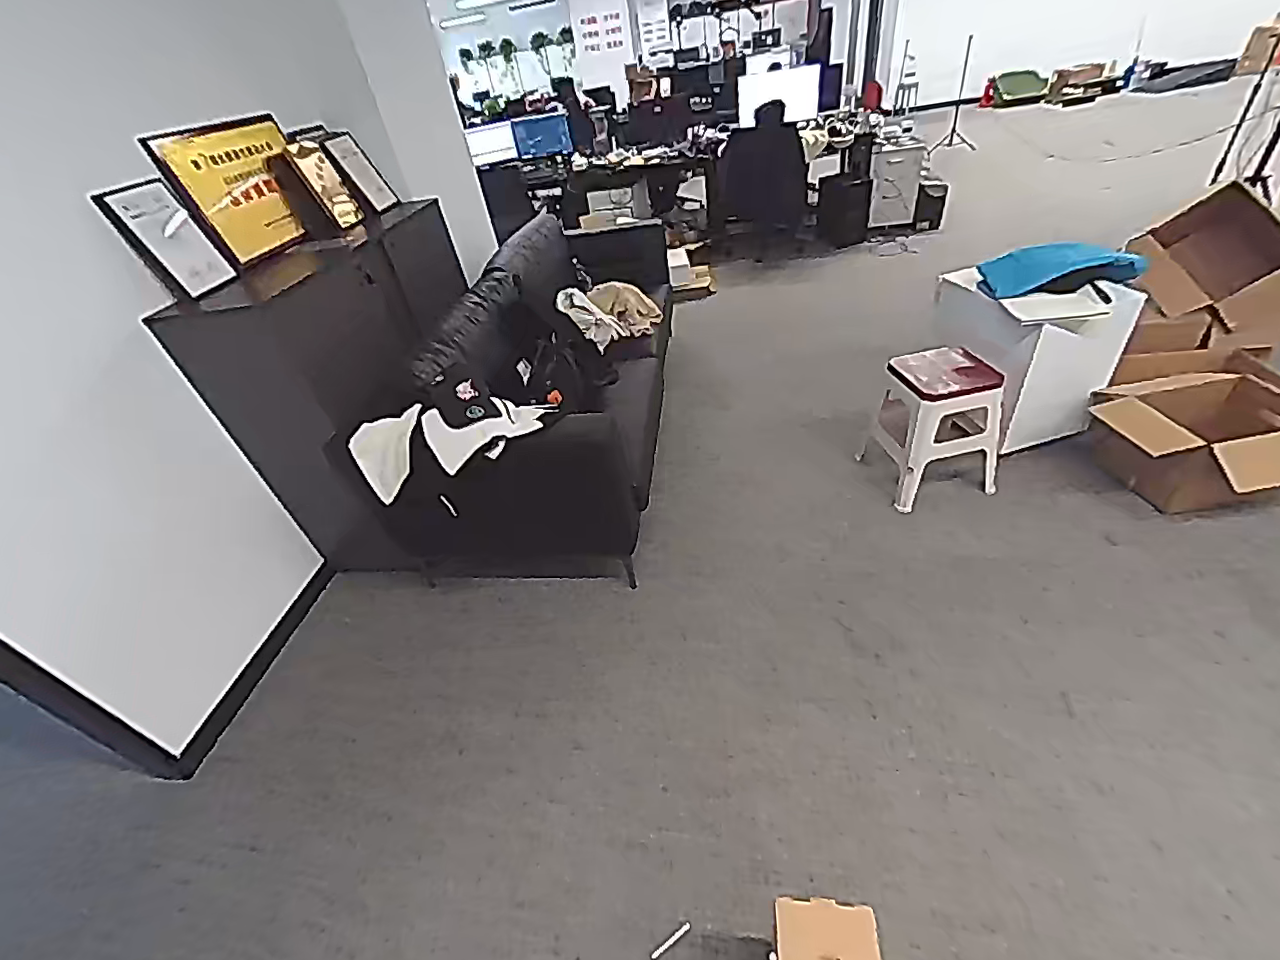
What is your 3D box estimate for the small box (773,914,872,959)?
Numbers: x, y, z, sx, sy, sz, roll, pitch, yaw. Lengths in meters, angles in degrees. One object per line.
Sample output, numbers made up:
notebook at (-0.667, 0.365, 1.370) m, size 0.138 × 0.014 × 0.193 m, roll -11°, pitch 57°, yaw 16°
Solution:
small box at (0.347, 0.957, 1.024) m, size 0.179 × 0.176 × 0.168 m, roll -2°, pitch 39°, yaw 11°
